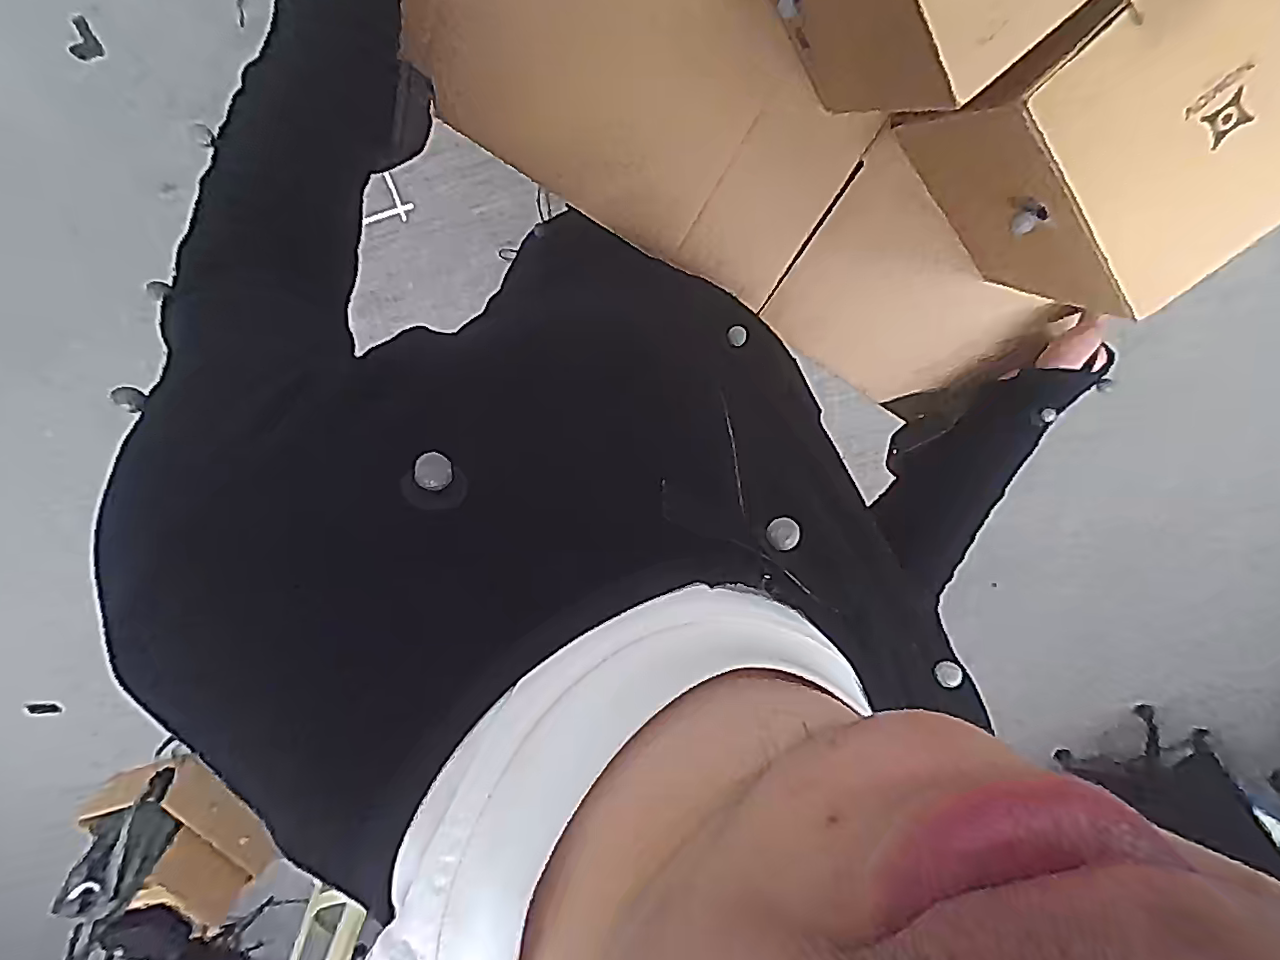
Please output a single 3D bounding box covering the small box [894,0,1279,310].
[{"bbox_3d":[0.324,-0.257,0.385,0.179,0.176,0.168,40,111,-21],"label":"small box"}]
